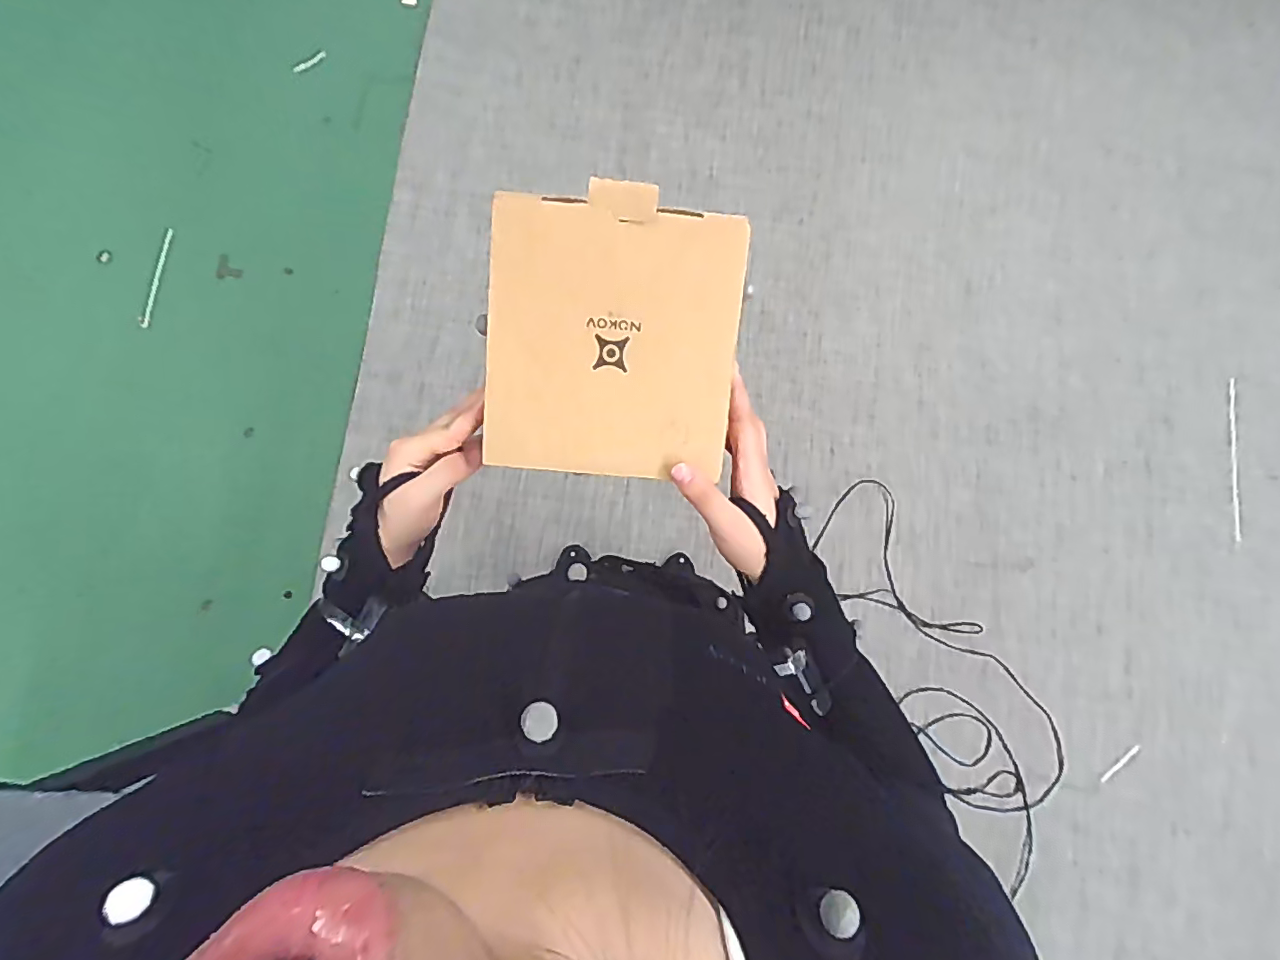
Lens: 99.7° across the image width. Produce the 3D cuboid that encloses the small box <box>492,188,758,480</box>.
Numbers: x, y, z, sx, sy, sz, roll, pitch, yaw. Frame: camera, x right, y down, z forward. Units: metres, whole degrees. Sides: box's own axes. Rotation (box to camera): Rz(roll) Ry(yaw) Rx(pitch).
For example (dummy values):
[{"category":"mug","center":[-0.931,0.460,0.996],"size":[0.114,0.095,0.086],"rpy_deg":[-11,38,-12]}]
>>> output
[{"category":"small box","center":[-0.014,-0.106,0.433],"size":[0.168,0.176,0.179],"rpy_deg":[4,100,-2]}]
